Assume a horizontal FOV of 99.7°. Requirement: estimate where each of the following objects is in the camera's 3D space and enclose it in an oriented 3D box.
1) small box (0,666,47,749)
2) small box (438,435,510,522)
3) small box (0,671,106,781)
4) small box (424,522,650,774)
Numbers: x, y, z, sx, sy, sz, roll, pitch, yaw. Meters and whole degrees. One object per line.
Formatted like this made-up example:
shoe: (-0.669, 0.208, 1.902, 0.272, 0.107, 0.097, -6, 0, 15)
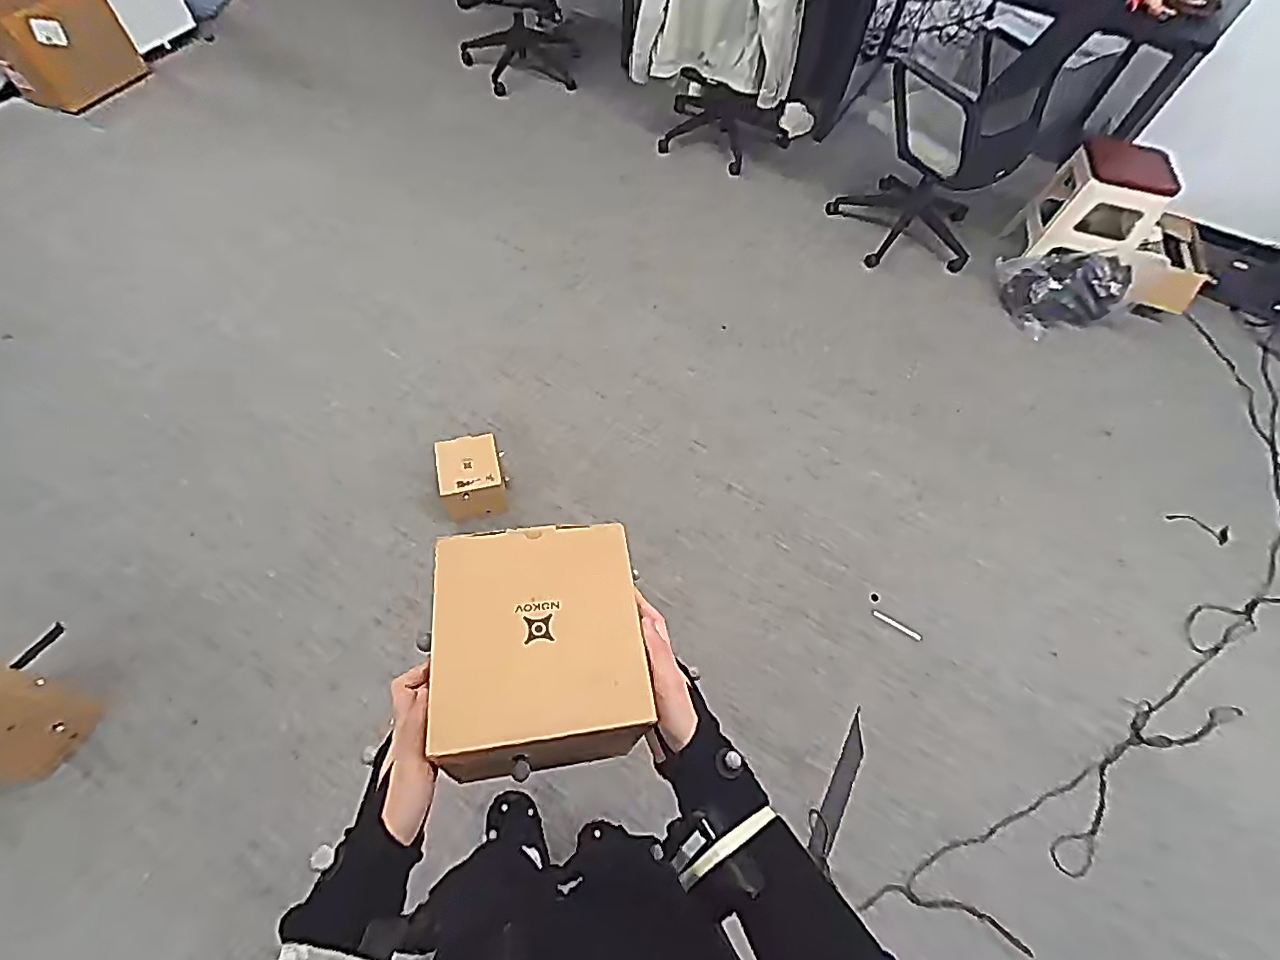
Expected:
small box: (-1.348, 0.454, 1.051, 0.179, 0.176, 0.168, 25, 61, 11)
small box: (-0.480, -0.002, 1.571, 0.168, 0.176, 0.179, -11, 61, -11)
small box: (-1.362, 0.541, 1.191, 0.179, 0.176, 0.168, 24, 60, 11)
small box: (-0.093, 0.160, 0.500, 0.168, 0.176, 0.179, -4, 55, -12)
